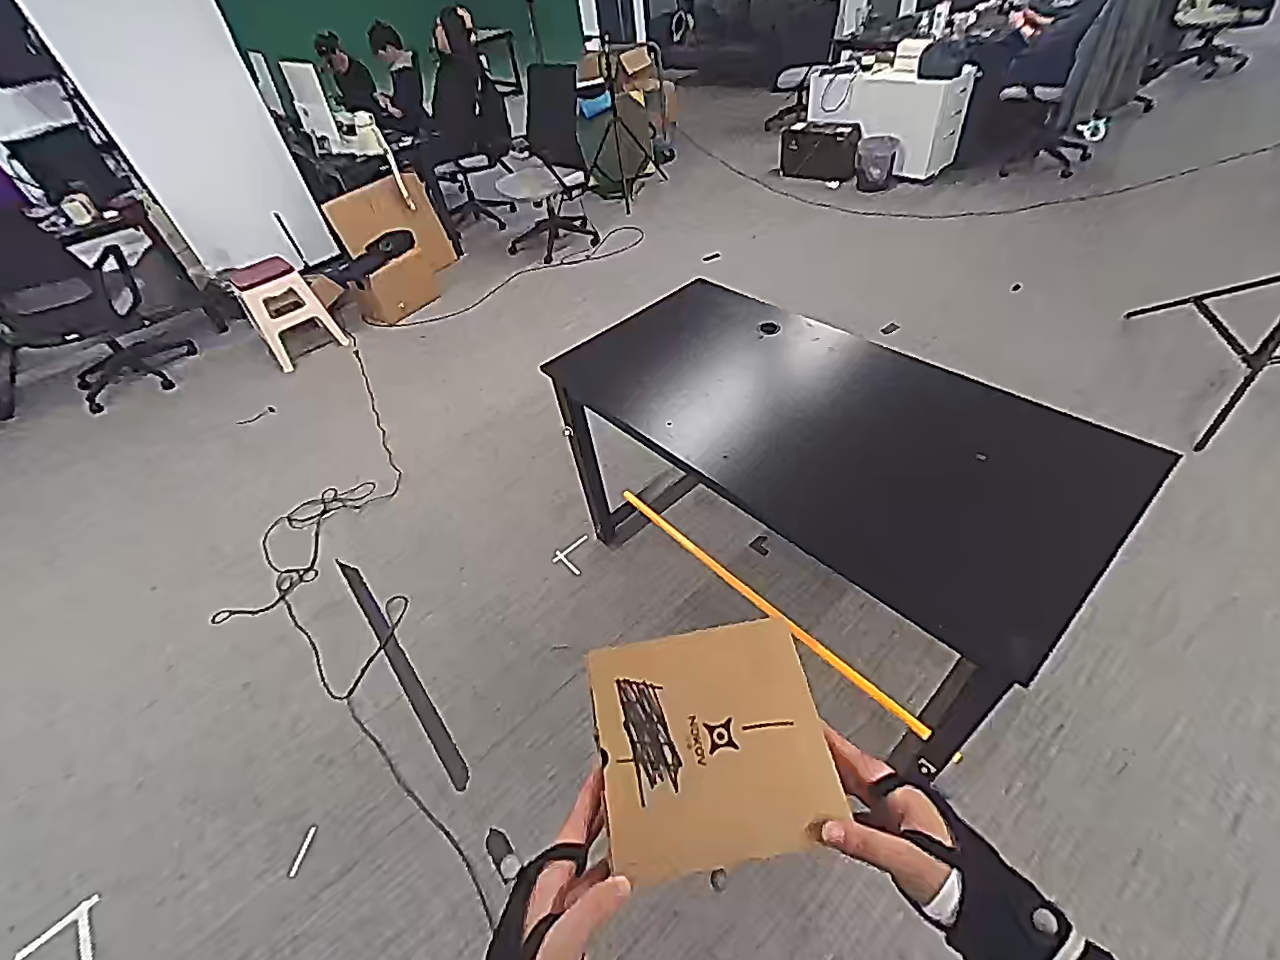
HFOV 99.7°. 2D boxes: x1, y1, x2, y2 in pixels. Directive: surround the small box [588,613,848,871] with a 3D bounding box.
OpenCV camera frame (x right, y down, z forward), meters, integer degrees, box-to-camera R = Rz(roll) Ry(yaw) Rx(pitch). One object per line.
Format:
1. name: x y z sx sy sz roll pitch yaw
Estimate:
1. small box: 0.055 0.239 0.489 0.179 0.176 0.168 -9 56 -4
